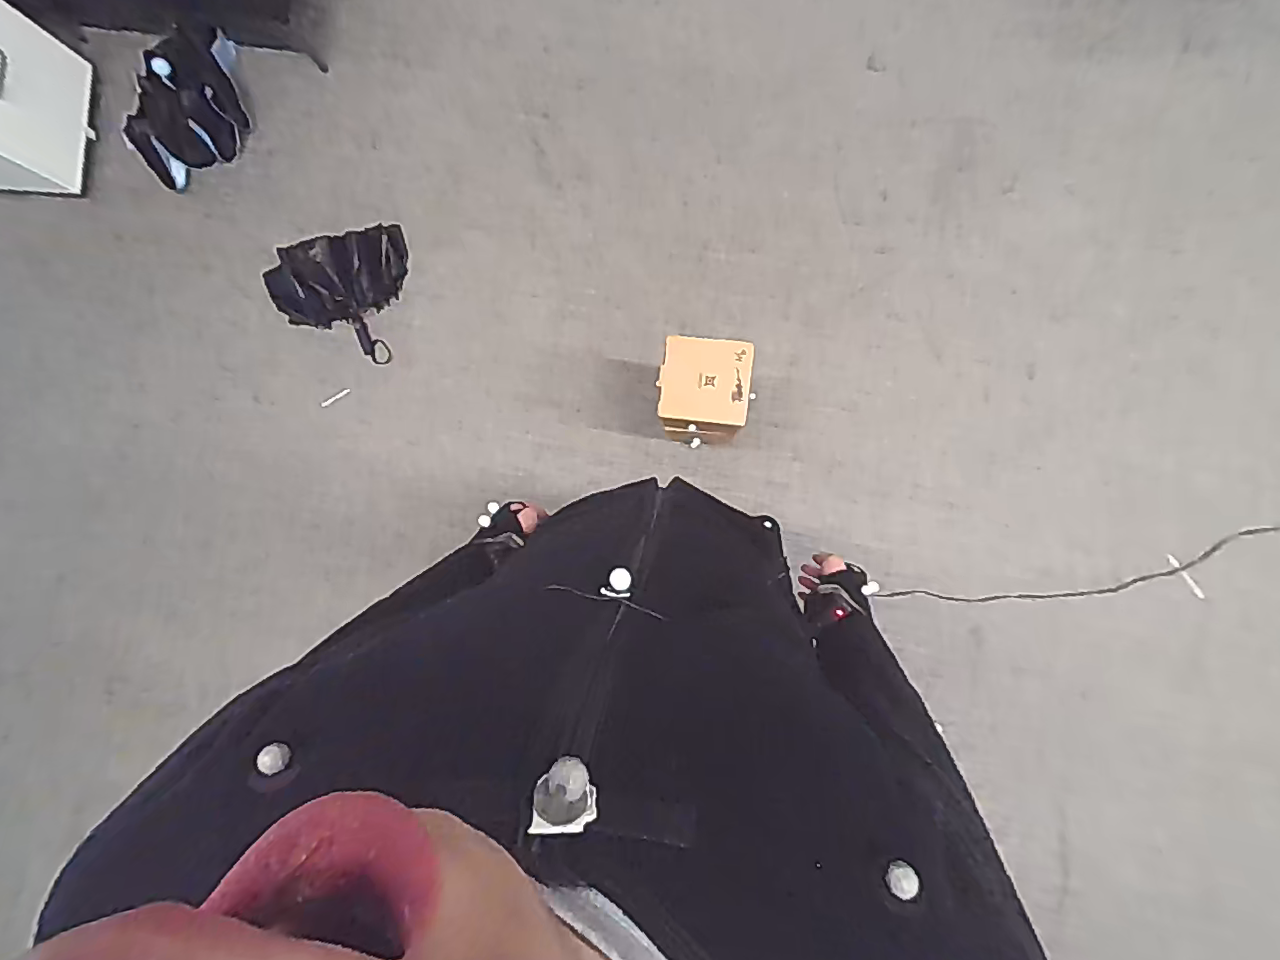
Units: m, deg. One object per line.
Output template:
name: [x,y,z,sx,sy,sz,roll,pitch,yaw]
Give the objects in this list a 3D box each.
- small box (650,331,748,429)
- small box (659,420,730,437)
small box: [0.124,-0.204,1.147,0.179,0.176,0.168,7,90,6]
small box: [0.138,-0.205,1.309,0.168,0.176,0.179,5,91,5]
